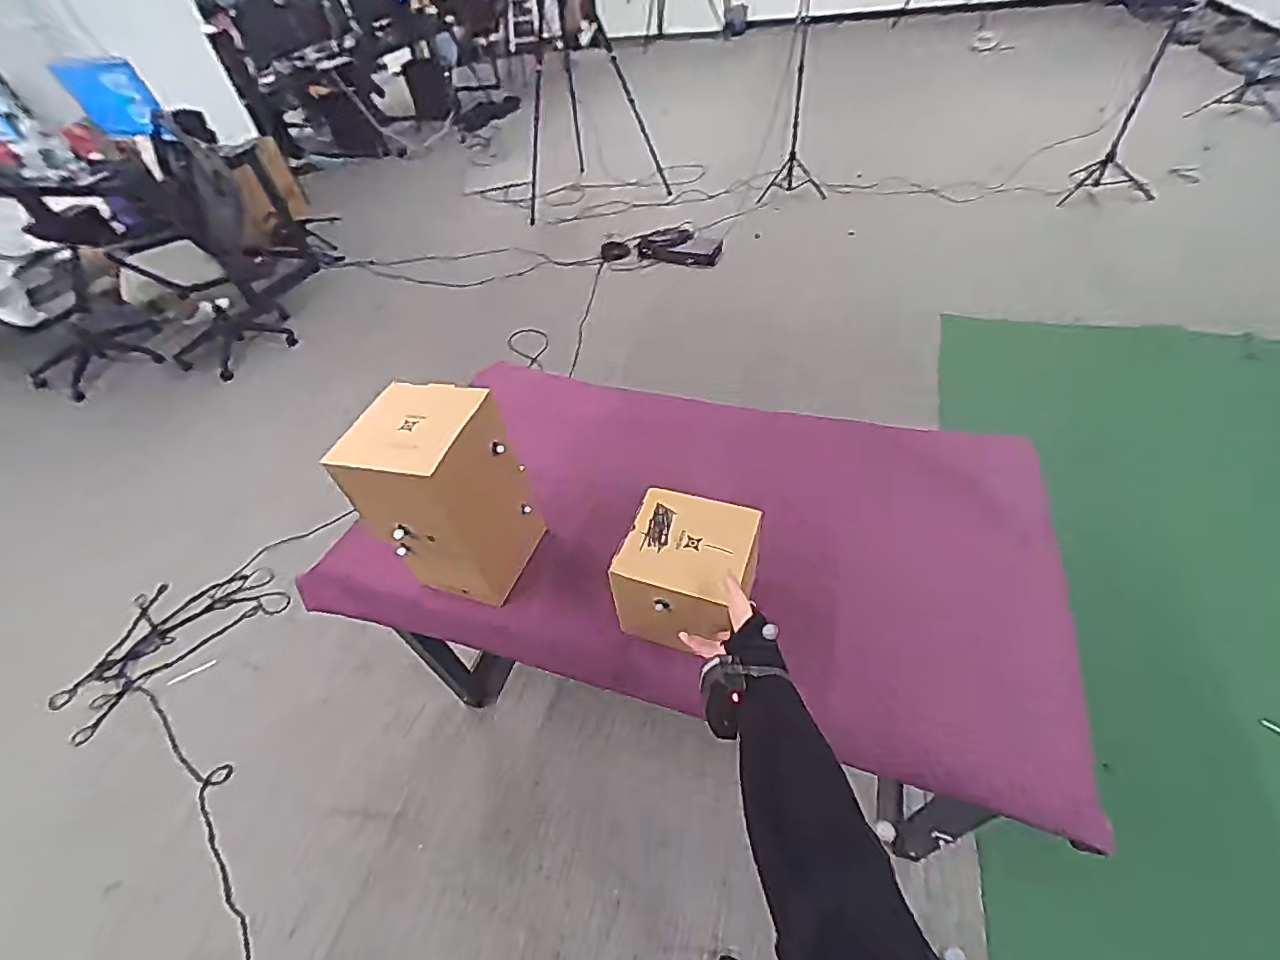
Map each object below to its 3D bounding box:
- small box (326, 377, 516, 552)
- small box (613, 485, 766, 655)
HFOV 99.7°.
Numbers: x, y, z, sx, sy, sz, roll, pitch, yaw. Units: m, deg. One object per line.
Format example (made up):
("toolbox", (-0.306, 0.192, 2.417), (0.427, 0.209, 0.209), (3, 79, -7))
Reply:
("small box", (-0.295, -0.024, 0.779), (0.168, 0.176, 0.179), (7, 49, 14))
("small box", (0.077, 0.136, 0.806), (0.179, 0.176, 0.168), (13, 50, 17))
